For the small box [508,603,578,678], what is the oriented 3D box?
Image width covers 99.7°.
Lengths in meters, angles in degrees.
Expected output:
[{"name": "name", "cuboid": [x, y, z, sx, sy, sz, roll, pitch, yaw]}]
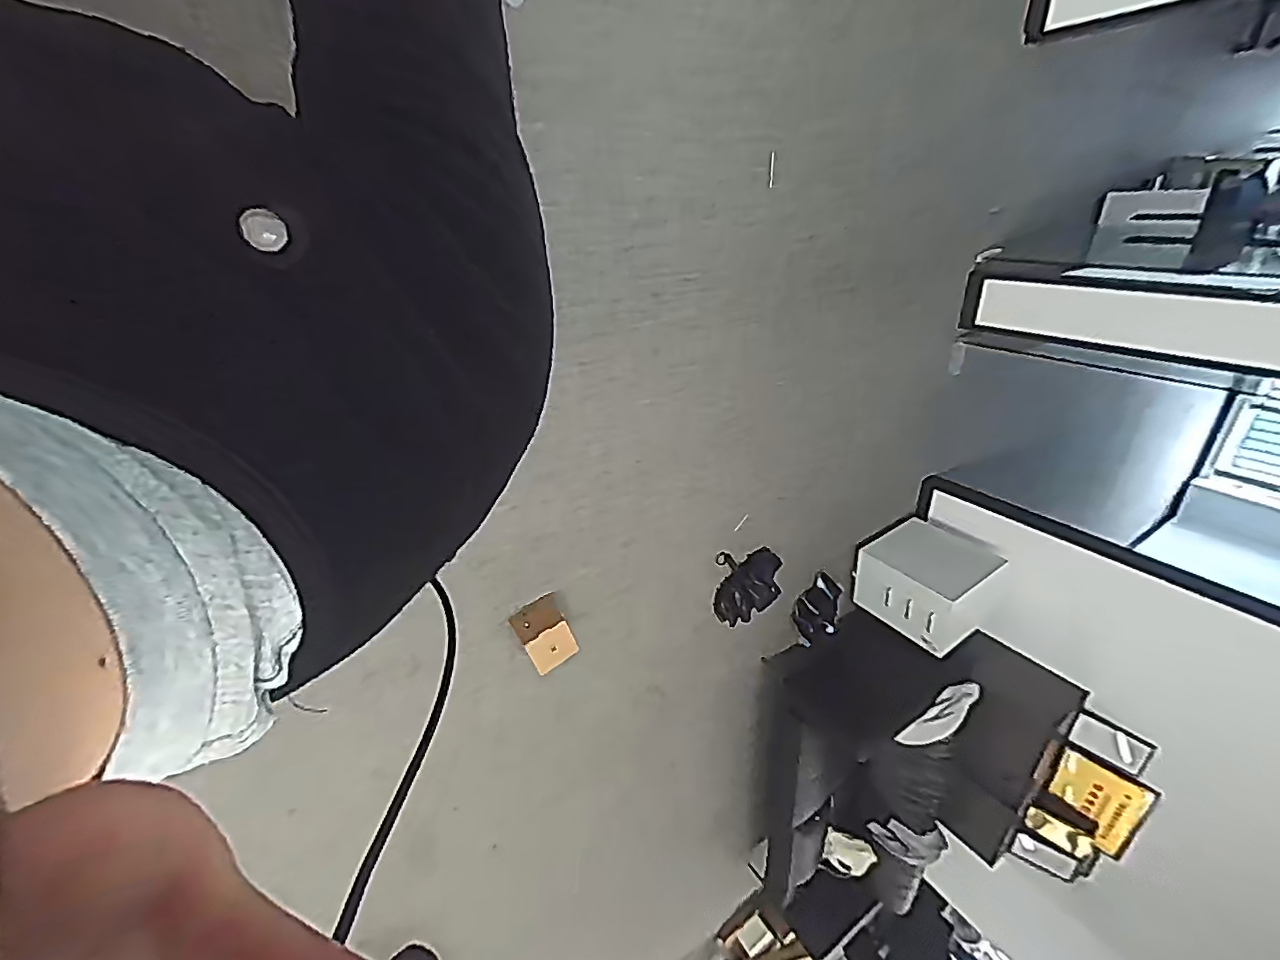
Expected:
[{"name": "small box", "cuboid": [-0.357, 0.575, 1.975, 0.168, 0.176, 0.179, -31, 128, -18]}]
